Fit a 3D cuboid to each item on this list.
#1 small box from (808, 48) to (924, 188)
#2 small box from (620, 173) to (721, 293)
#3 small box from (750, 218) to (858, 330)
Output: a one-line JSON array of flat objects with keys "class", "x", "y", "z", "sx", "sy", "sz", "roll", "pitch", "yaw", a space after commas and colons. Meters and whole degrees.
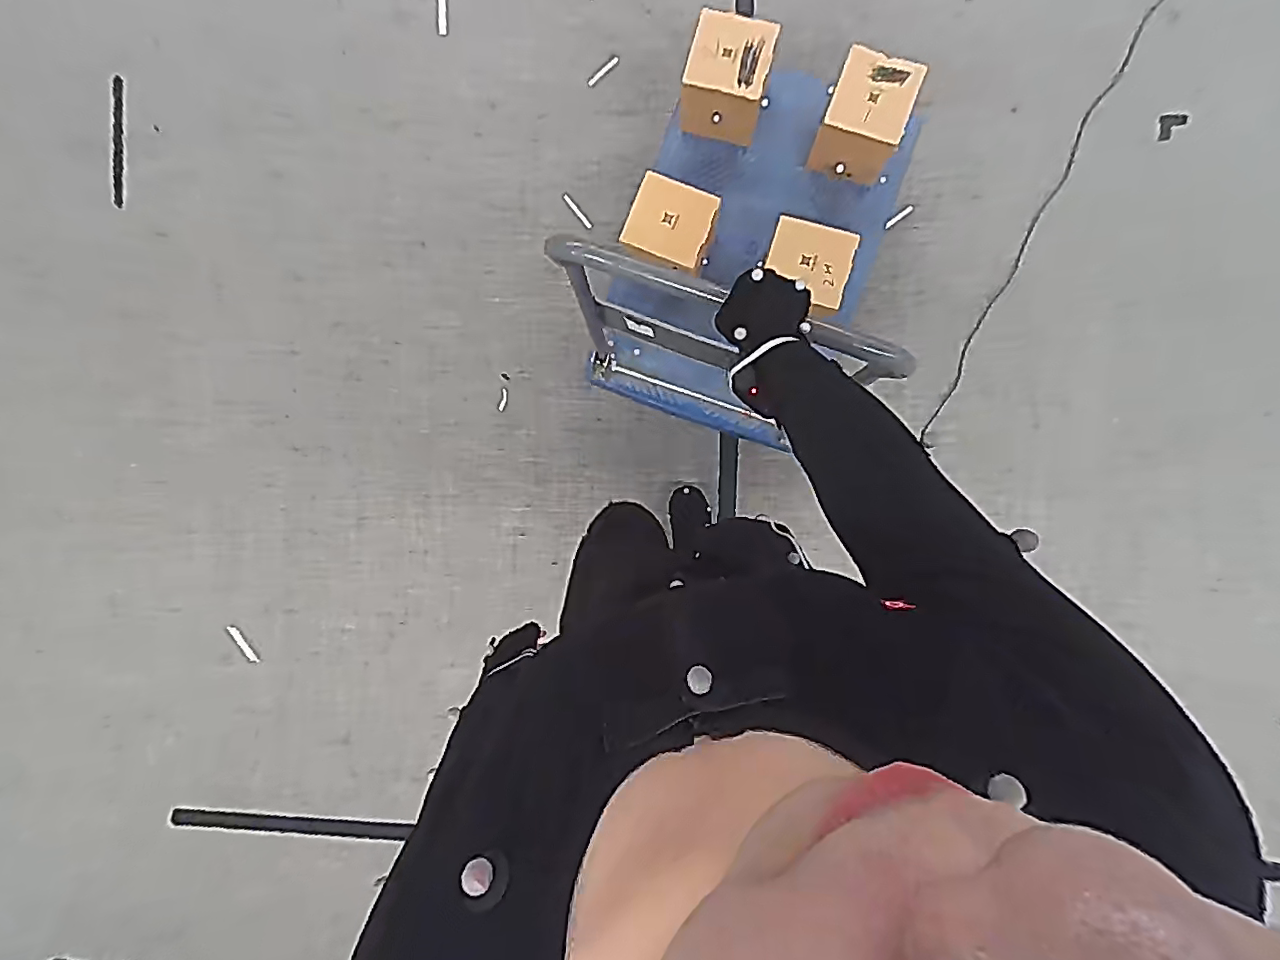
[{"class": "small box", "x": 0.496, "y": -0.803, "z": 1.217, "sx": 0.168, "sy": 0.176, "sz": 0.179, "roll": 20, "pitch": 92, "yaw": 4}, {"class": "small box", "x": 0.068, "y": -0.556, "z": 1.244, "sx": 0.179, "sy": 0.176, "sz": 0.168, "roll": 22, "pitch": 90, "yaw": 2}, {"class": "small box", "x": 0.360, "y": -0.456, "z": 1.223, "sx": 0.179, "sy": 0.176, "sz": 0.168, "roll": 17, "pitch": 91, "yaw": 4}]
